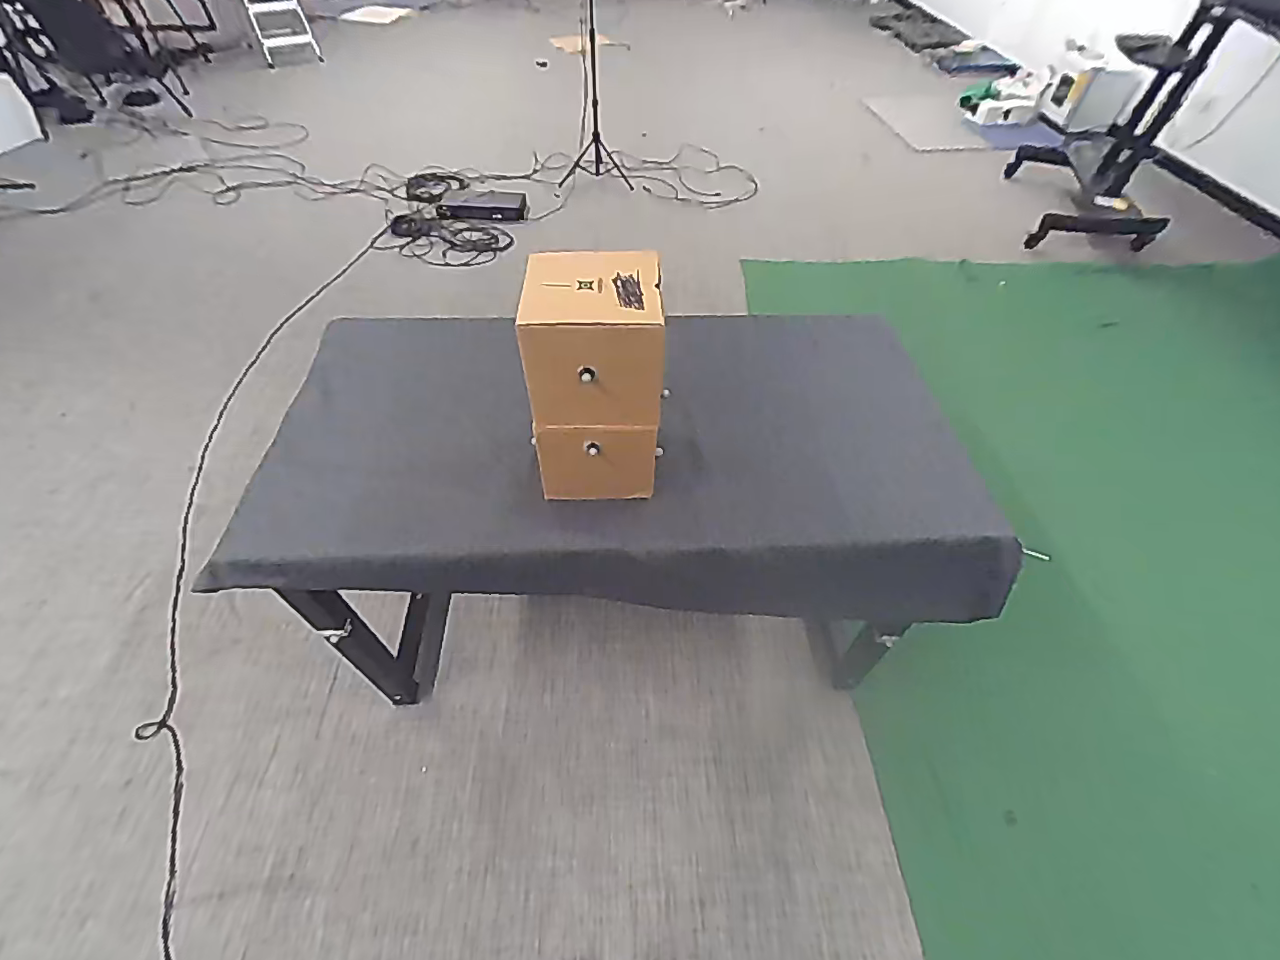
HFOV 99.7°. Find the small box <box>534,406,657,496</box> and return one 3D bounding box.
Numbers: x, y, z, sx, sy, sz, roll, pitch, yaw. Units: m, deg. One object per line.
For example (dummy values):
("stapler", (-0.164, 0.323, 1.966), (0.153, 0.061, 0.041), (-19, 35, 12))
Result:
("small box", (-0.066, -0.087, 0.865), (0.179, 0.176, 0.168), (0, 52, -3))

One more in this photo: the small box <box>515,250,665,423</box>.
("small box", (-0.060, -0.191, 0.738), (0.179, 0.176, 0.168), (0, 52, 0))
